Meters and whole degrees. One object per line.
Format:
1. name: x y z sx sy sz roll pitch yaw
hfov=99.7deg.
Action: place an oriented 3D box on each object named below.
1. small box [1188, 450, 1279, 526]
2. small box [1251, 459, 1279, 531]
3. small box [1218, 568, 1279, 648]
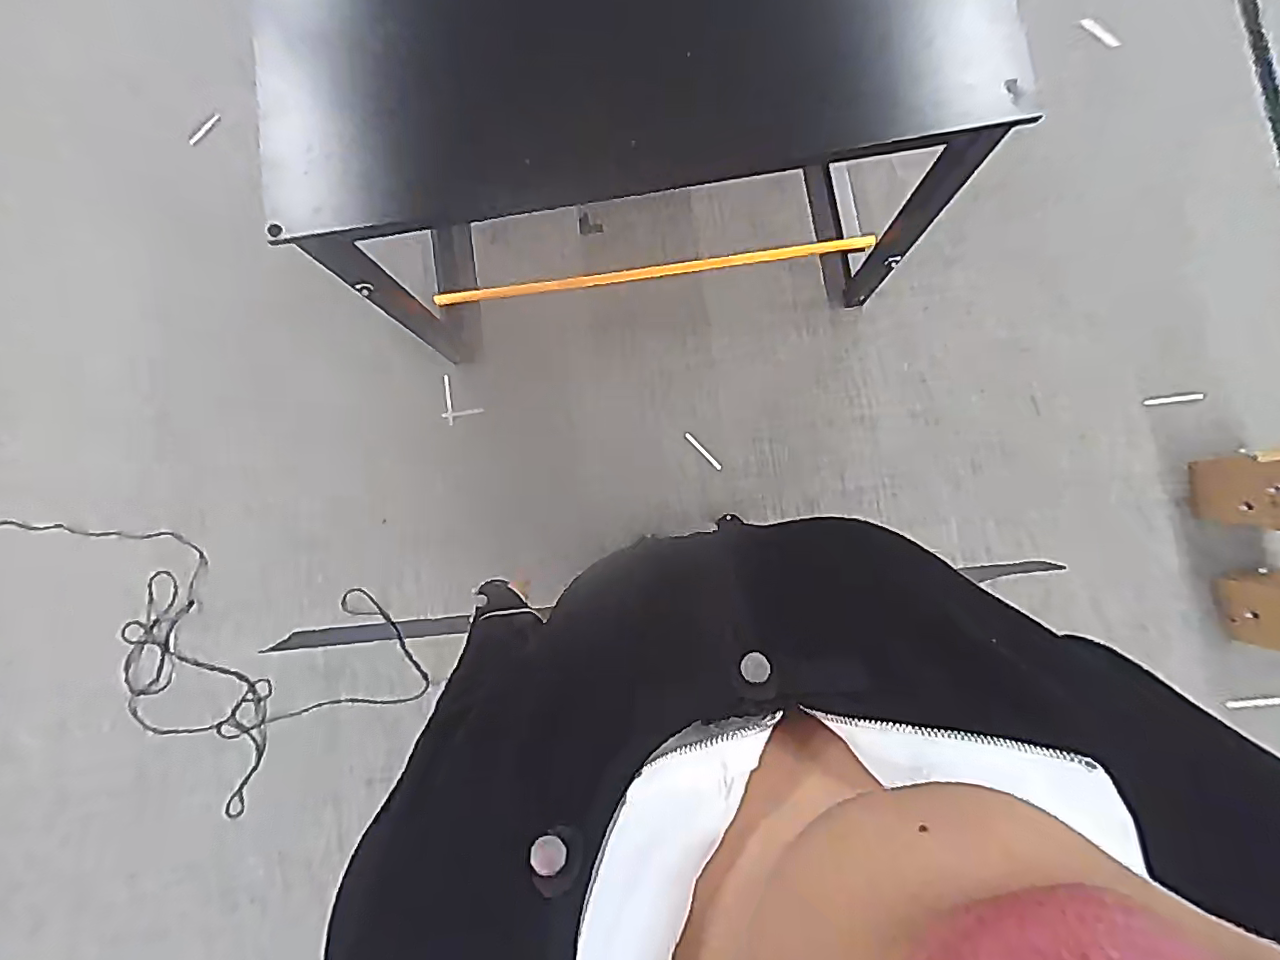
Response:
1. small box: 1.538 0.021 1.347 0.168 0.176 0.179 -6 85 3
2. small box: 1.527 0.024 1.184 0.179 0.176 0.168 -6 84 4
3. small box: 1.585 0.314 1.323 0.179 0.176 0.168 -10 85 3
